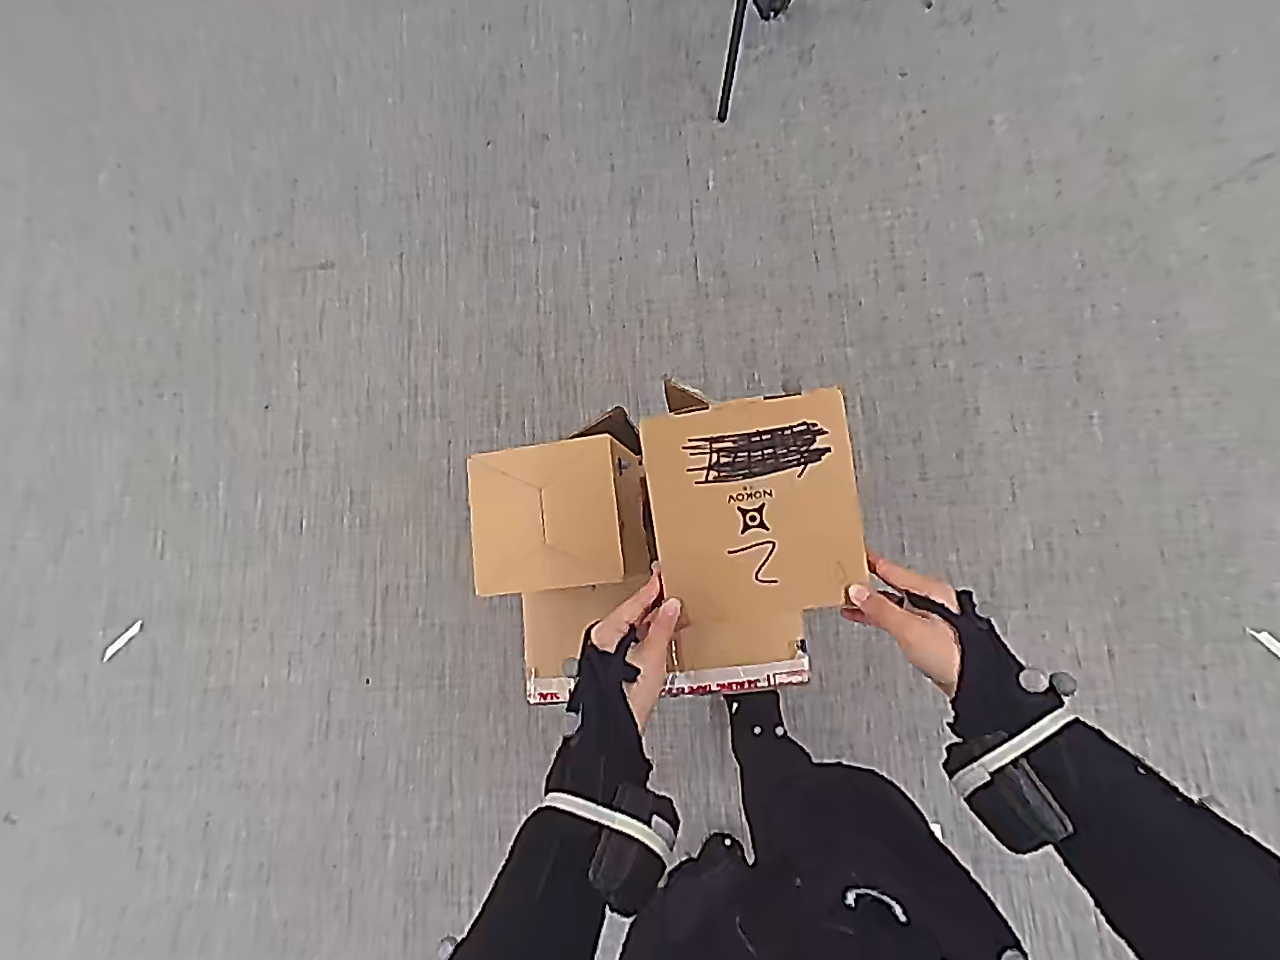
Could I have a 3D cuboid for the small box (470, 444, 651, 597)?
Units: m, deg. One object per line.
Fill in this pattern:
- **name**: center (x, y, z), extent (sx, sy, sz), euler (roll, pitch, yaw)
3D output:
- **small box**: center (-0.093, 0.055, 0.692), extent (0.179, 0.176, 0.168), euler (-8, 82, 9)
